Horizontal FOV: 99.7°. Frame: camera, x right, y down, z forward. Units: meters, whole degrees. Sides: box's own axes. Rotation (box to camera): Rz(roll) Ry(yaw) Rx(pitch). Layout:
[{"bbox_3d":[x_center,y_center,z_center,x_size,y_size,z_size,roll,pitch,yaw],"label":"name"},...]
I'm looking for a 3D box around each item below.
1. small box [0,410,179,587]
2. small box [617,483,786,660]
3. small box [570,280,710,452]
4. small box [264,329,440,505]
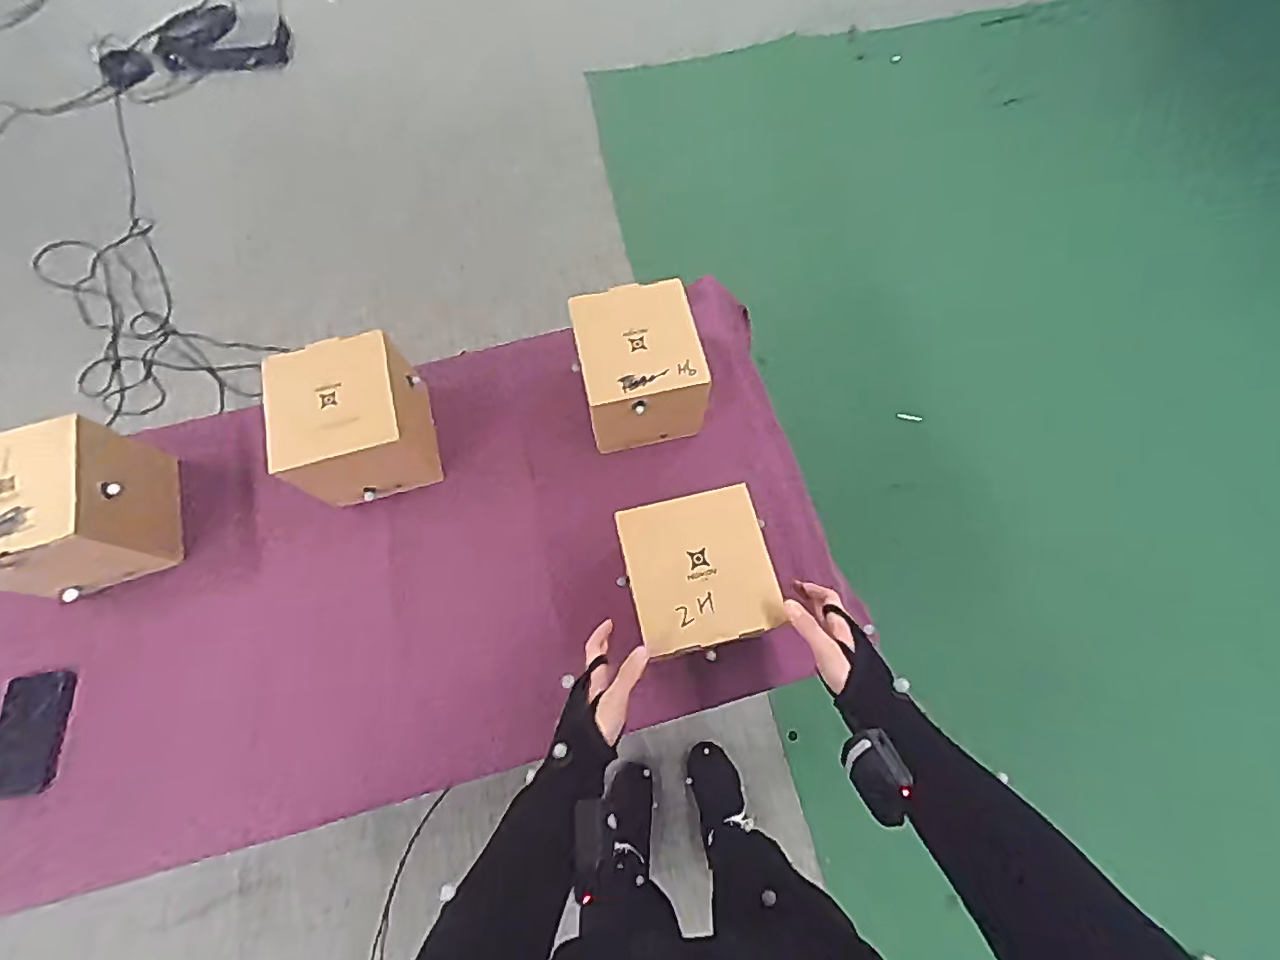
[{"bbox_3d":[-0.773,0.036,0.733,0.168,0.176,0.179,-18,70,-7],"label":"small box"},{"bbox_3d":[0.067,0.126,0.700,0.168,0.176,0.179,-12,70,-3],"label":"small box"},{"bbox_3d":[-0.004,-0.164,0.811,0.168,0.176,0.179,-12,70,-4],"label":"small box"},{"bbox_3d":[-0.406,-0.084,0.781,0.168,0.176,0.179,-15,71,-5],"label":"small box"}]
